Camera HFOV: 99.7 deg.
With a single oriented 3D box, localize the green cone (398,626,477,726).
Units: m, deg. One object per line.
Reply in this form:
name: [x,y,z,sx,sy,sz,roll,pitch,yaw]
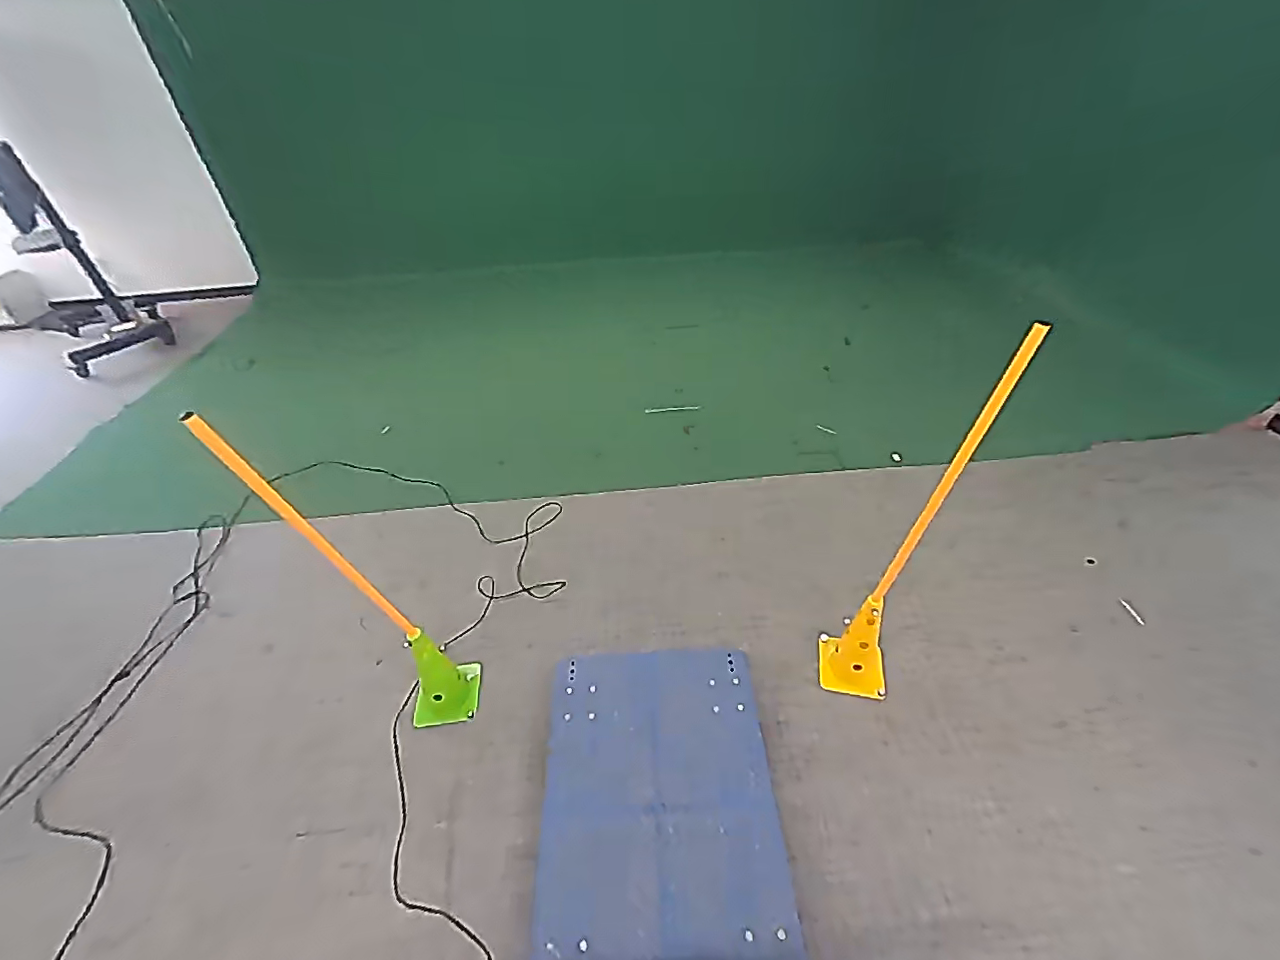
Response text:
green cone: [-0.652,0.564,1.659,0.202,0.368,0.200,-9,40,-3]
